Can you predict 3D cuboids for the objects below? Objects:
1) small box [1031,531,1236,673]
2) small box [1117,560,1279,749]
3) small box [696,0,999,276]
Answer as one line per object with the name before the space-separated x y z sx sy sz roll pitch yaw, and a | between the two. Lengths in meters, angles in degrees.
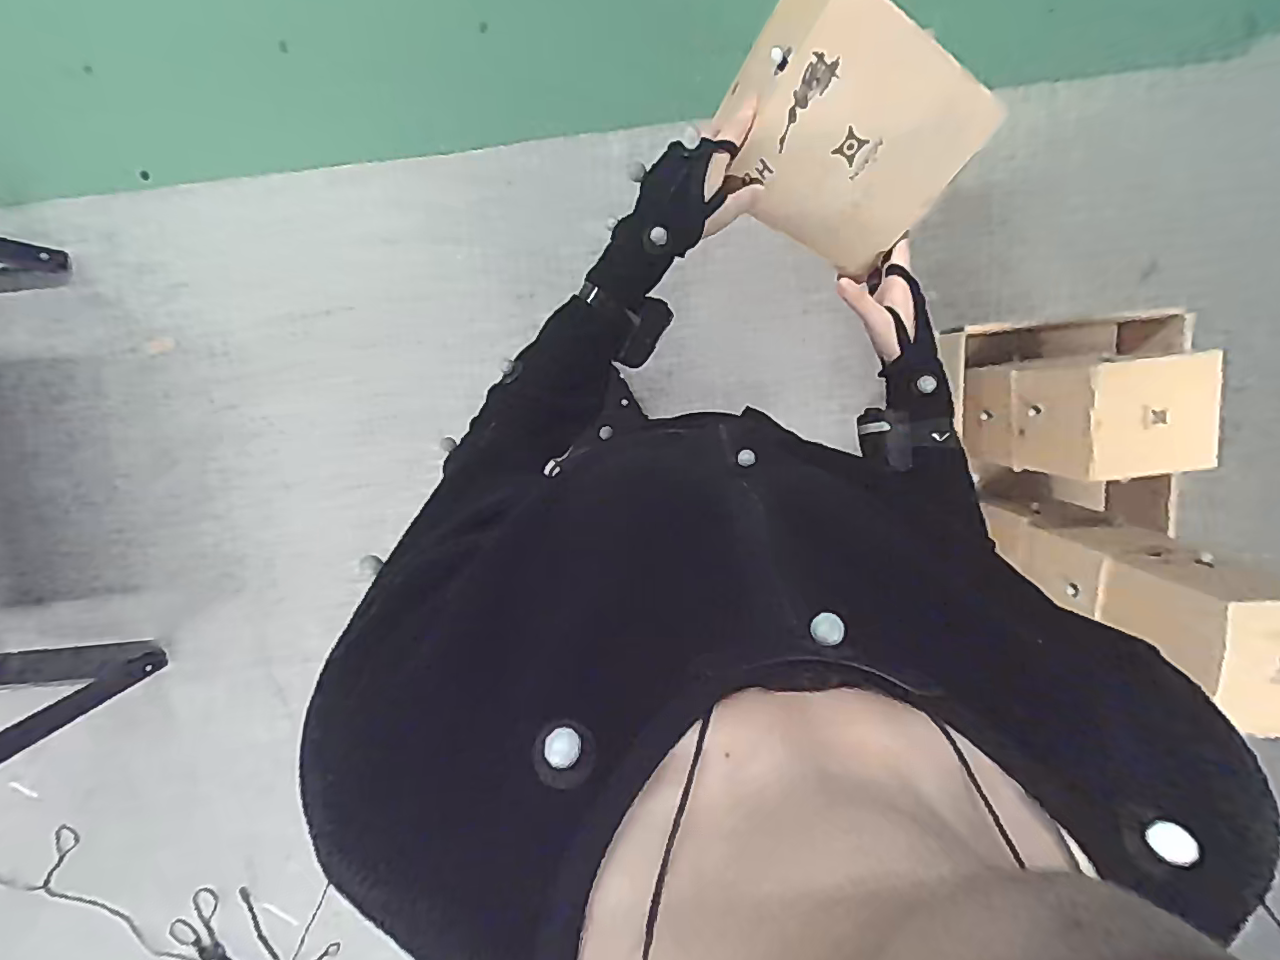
small box | 0.755 0.181 0.848 0.168 0.176 0.179 -1 100 2
small box | 0.761 0.212 0.688 0.168 0.176 0.179 -1 99 1
small box | 0.170 -0.330 0.500 0.179 0.176 0.168 22 128 -20
